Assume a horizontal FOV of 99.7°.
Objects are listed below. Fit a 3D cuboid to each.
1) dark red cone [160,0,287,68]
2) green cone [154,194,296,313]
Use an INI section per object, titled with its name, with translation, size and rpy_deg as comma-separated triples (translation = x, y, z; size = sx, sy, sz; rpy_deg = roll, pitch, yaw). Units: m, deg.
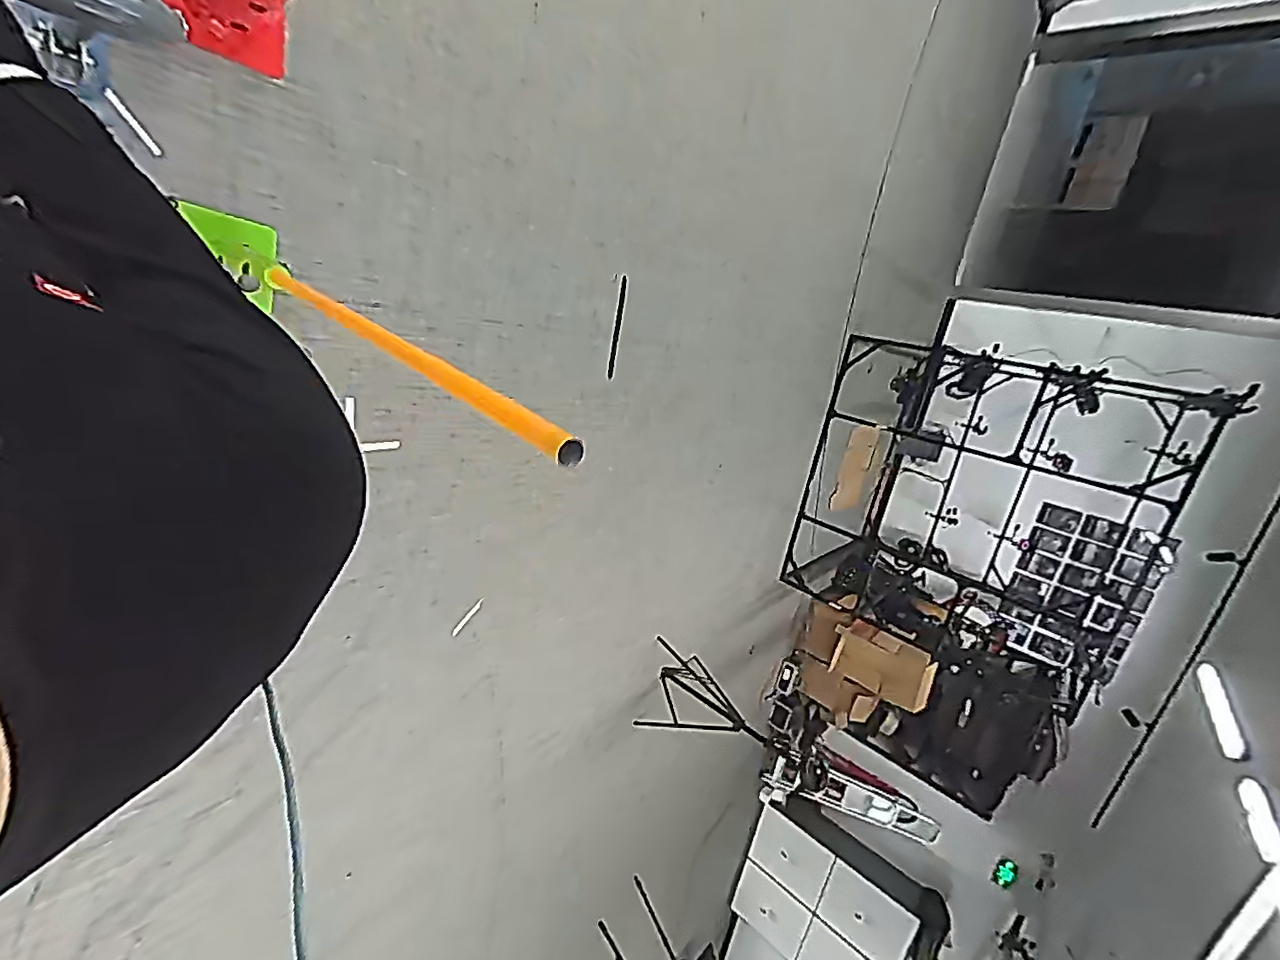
[dark red cone]
translation = -0.644, -0.866, 0.911
size = 0.201, 0.394, 0.202
rpy_deg = -10, 117, -51
[green cone]
translation = -0.762, -0.414, 1.042
size = 0.202, 0.368, 0.200
rpy_deg = -4, 112, -52
